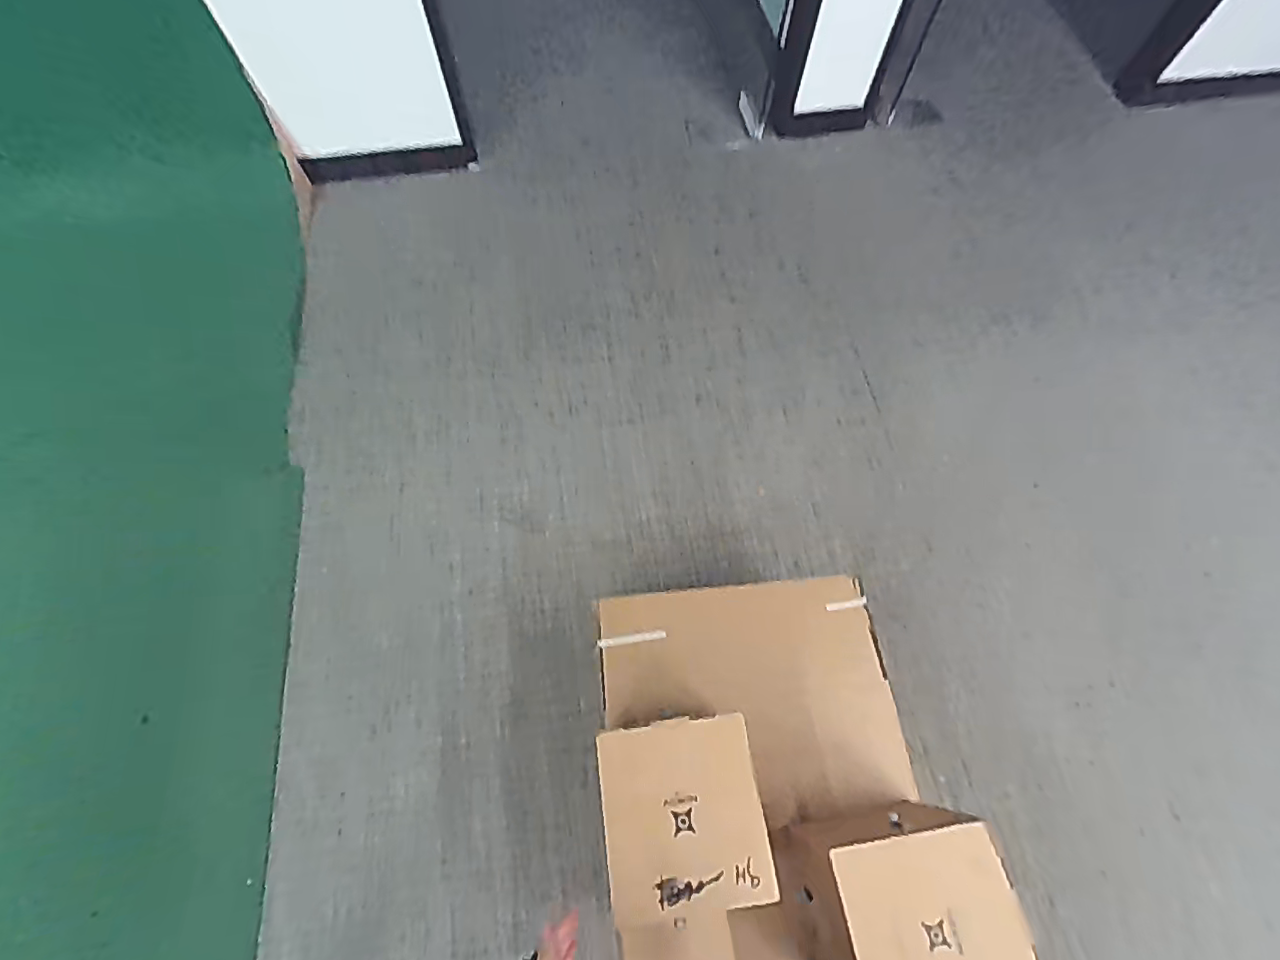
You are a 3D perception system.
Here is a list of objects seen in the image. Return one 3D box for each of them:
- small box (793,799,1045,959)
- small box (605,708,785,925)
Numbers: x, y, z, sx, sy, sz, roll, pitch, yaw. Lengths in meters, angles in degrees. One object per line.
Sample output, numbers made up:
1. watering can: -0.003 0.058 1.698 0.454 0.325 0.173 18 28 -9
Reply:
1. small box: 0.290 0.463 0.593 0.179 0.176 0.168 -8 65 -4
2. small box: 0.050 0.376 0.629 0.168 0.176 0.179 -7 64 -4
